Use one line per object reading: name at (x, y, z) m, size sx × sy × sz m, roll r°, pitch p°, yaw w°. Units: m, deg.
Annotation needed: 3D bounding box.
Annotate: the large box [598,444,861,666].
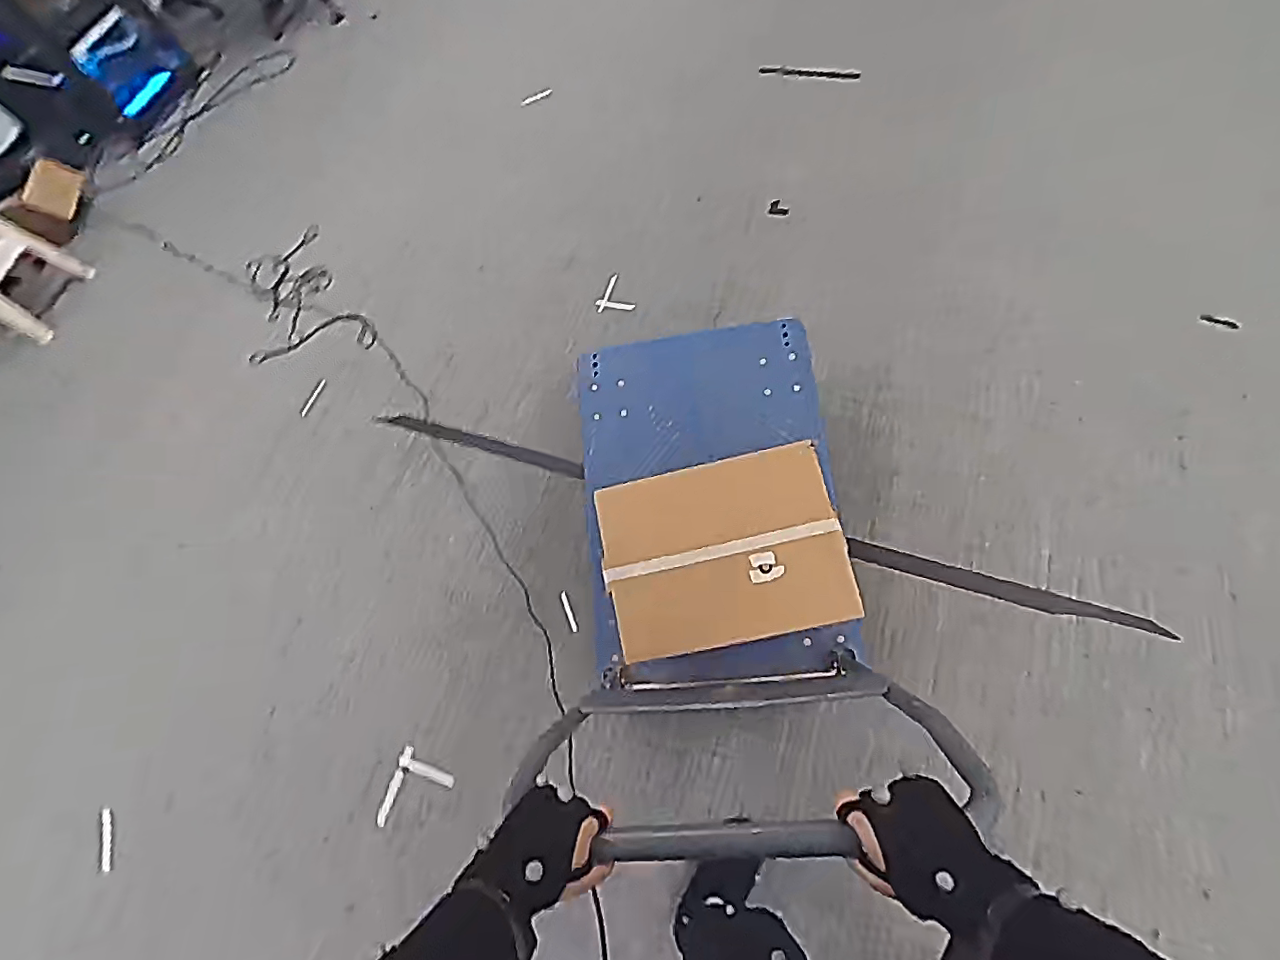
large box at (0.165, 0.164, 1.091) m, size 0.408 × 0.320 × 0.320 m, roll -14°, pitch 75°, yaw 5°
